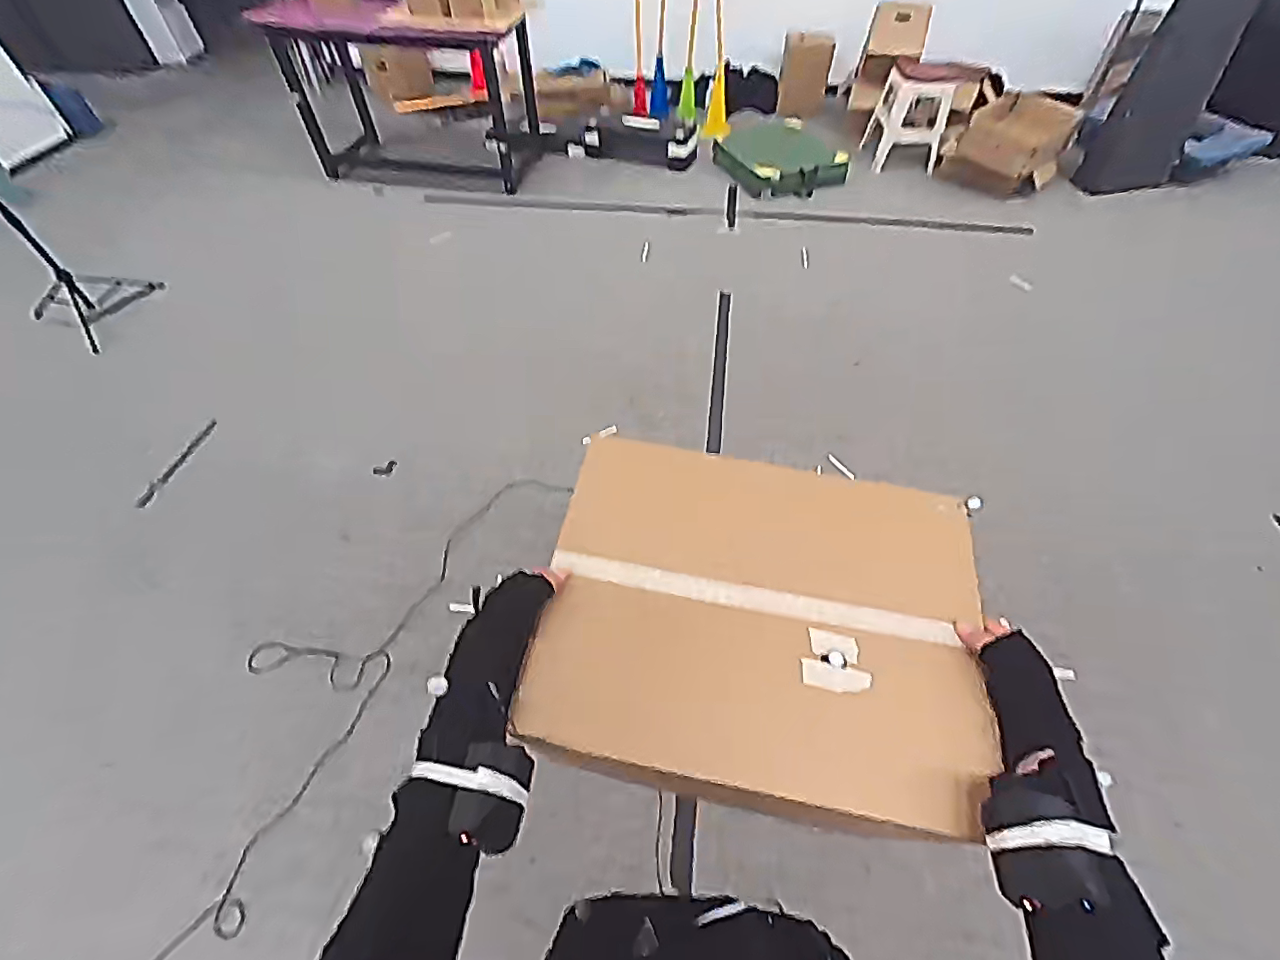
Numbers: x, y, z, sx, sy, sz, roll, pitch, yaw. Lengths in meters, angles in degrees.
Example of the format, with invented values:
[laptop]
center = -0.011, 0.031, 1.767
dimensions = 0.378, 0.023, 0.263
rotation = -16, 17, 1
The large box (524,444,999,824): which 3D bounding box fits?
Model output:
[large box]
center = 0.115, 0.194, 0.648
dimensions = 0.408, 0.320, 0.320
rotation = 10, 60, 5
